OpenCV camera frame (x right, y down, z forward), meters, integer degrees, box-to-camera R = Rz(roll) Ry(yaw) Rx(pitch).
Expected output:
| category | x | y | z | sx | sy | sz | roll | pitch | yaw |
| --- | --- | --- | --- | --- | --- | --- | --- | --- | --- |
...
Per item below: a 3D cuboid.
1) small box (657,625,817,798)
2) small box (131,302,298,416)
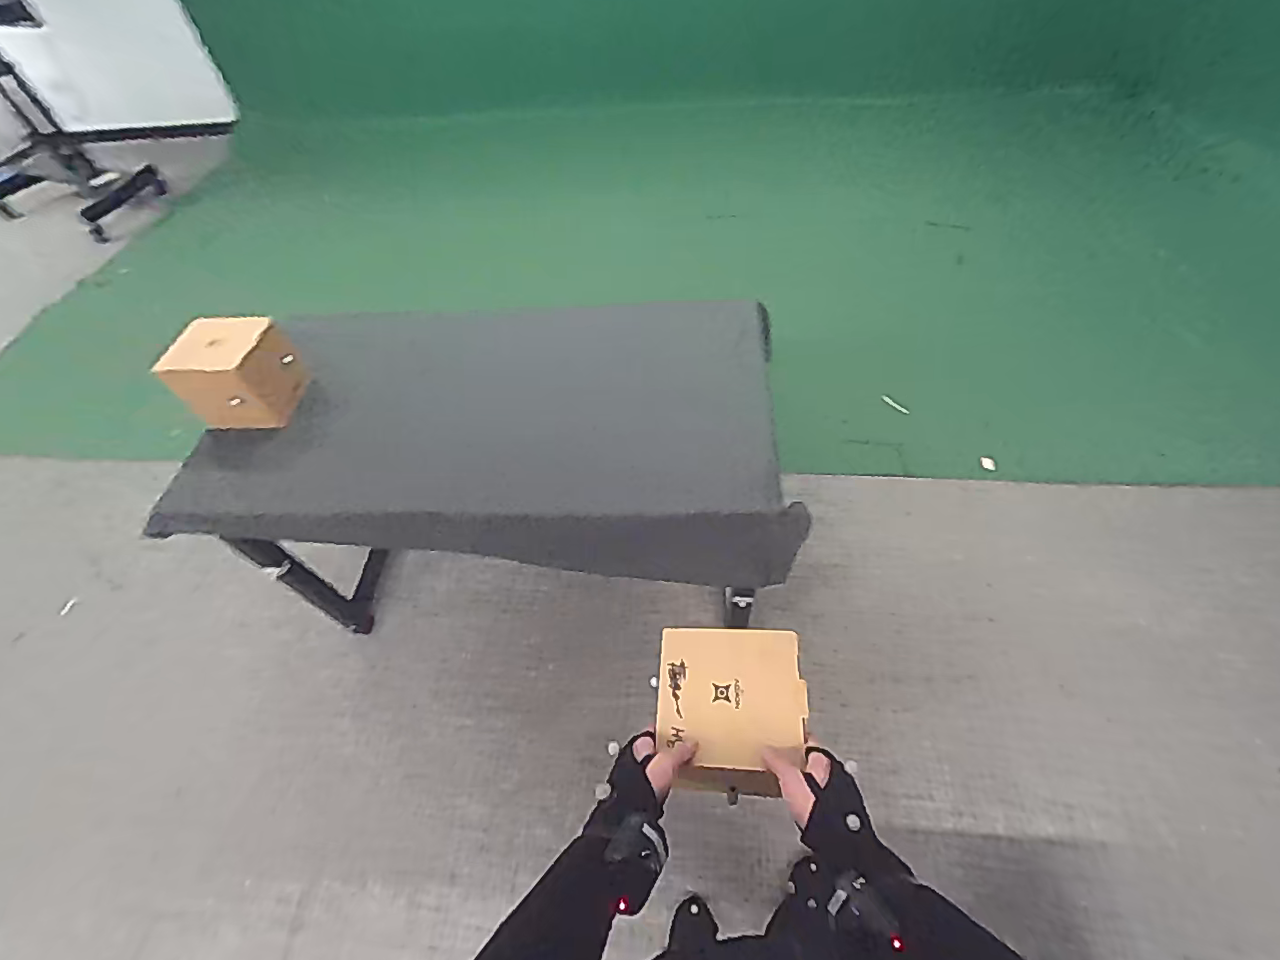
| category | x | y | z | sx | sy | sz | roll | pitch | yaw |
| --- | --- | --- | --- | --- | --- | --- | --- | --- | --- |
| small box | 0.117 | 0.302 | 0.700 | 0.179 | 0.176 | 0.168 | 0 | 51 | 7 |
| small box | -0.849 | -0.243 | 1.104 | 0.179 | 0.176 | 0.168 | 0 | 52 | 3 |
